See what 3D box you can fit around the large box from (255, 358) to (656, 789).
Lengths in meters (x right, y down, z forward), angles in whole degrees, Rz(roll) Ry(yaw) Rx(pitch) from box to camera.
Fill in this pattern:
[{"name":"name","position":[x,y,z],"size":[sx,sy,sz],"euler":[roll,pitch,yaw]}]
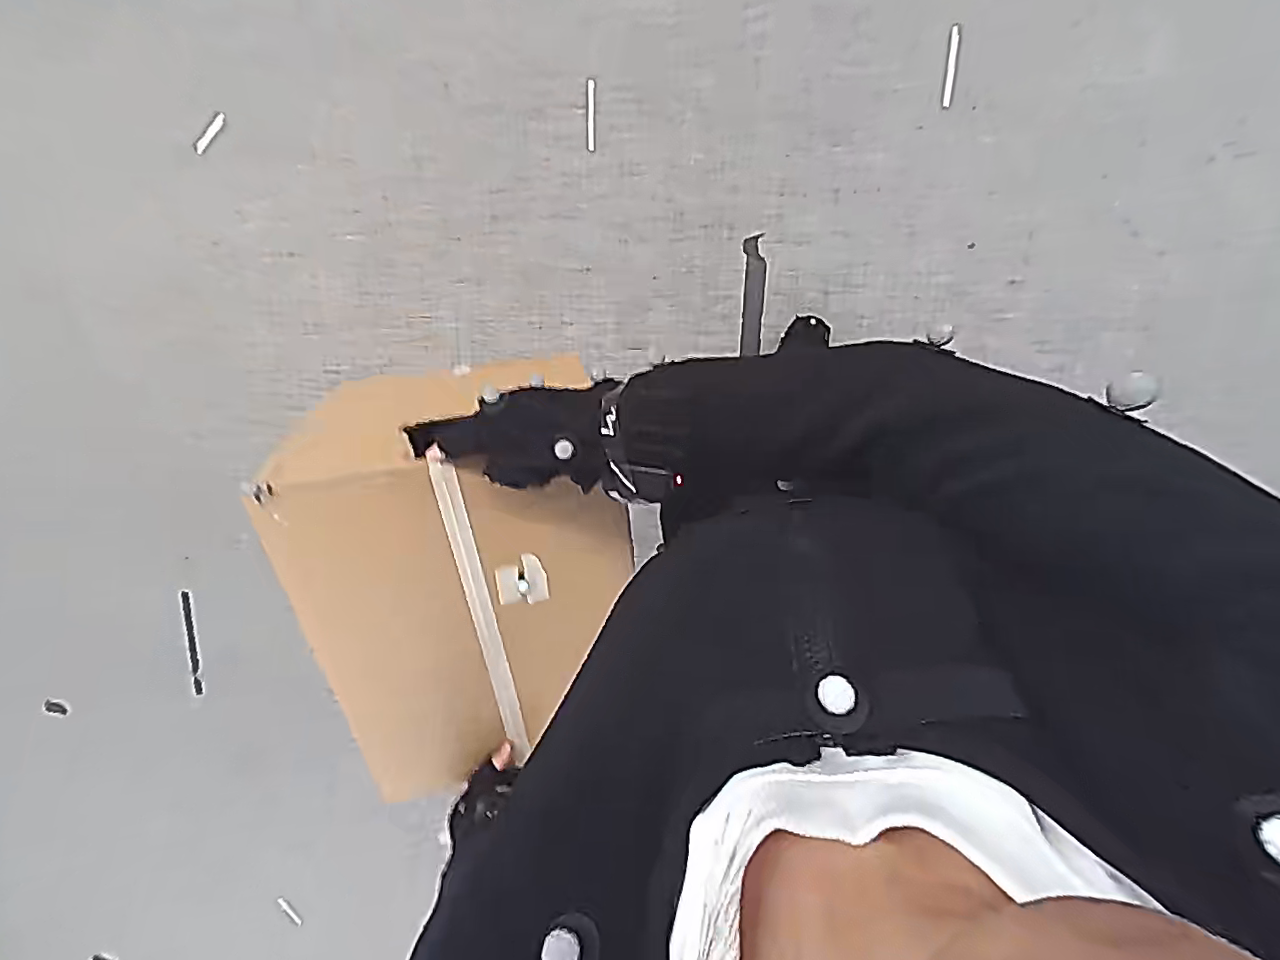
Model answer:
[{"name":"large box","position":[-0.184,0.092,0.690],"size":[0.320,0.320,0.408],"euler":[-12,116,-10]}]
